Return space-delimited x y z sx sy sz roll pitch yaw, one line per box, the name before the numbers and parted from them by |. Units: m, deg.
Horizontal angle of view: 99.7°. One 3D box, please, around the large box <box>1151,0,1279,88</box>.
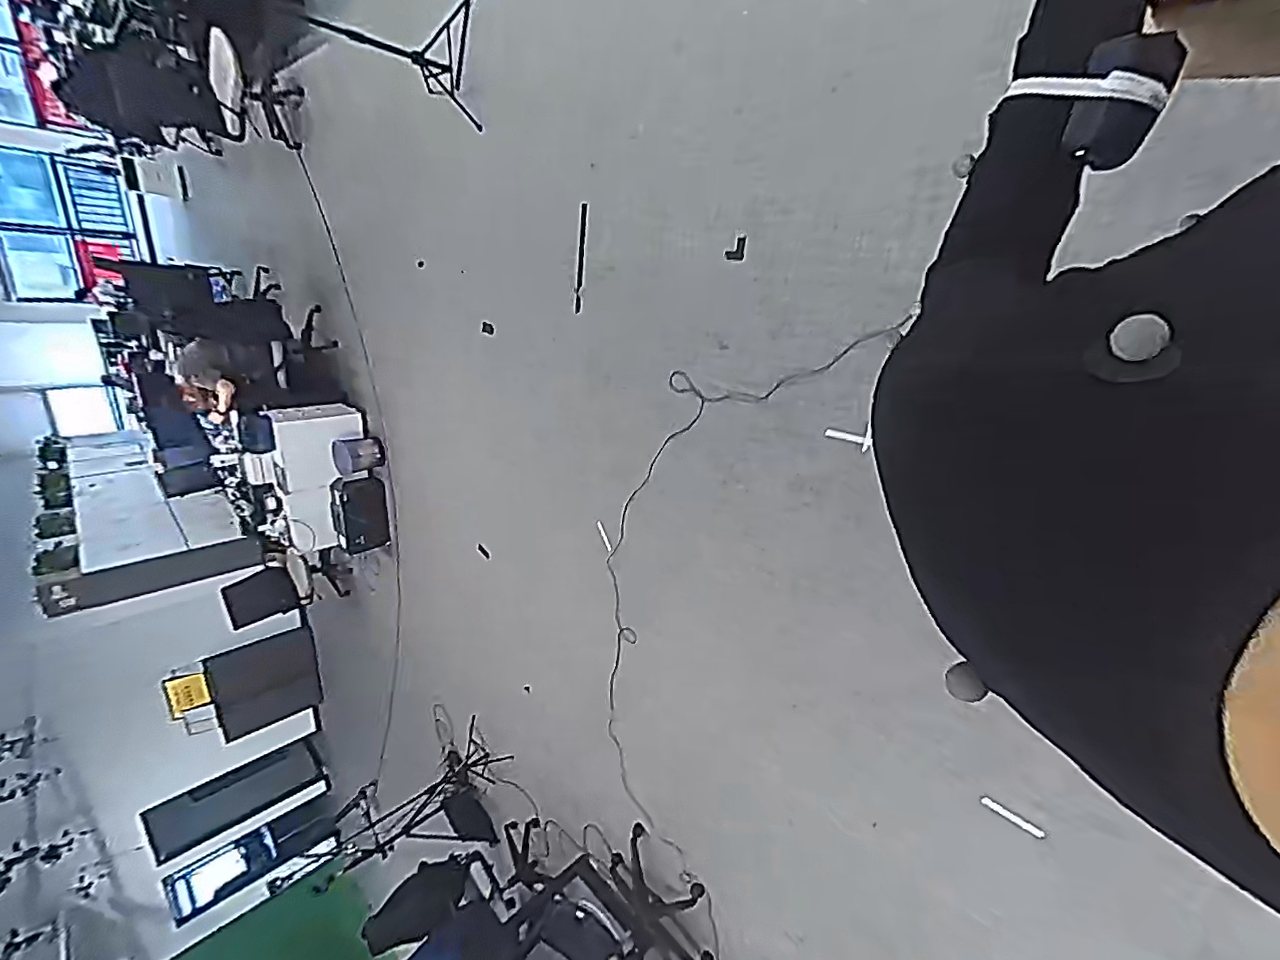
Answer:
large box | 0.566 -0.408 0.253 0.408 0.320 0.320 25 127 35
